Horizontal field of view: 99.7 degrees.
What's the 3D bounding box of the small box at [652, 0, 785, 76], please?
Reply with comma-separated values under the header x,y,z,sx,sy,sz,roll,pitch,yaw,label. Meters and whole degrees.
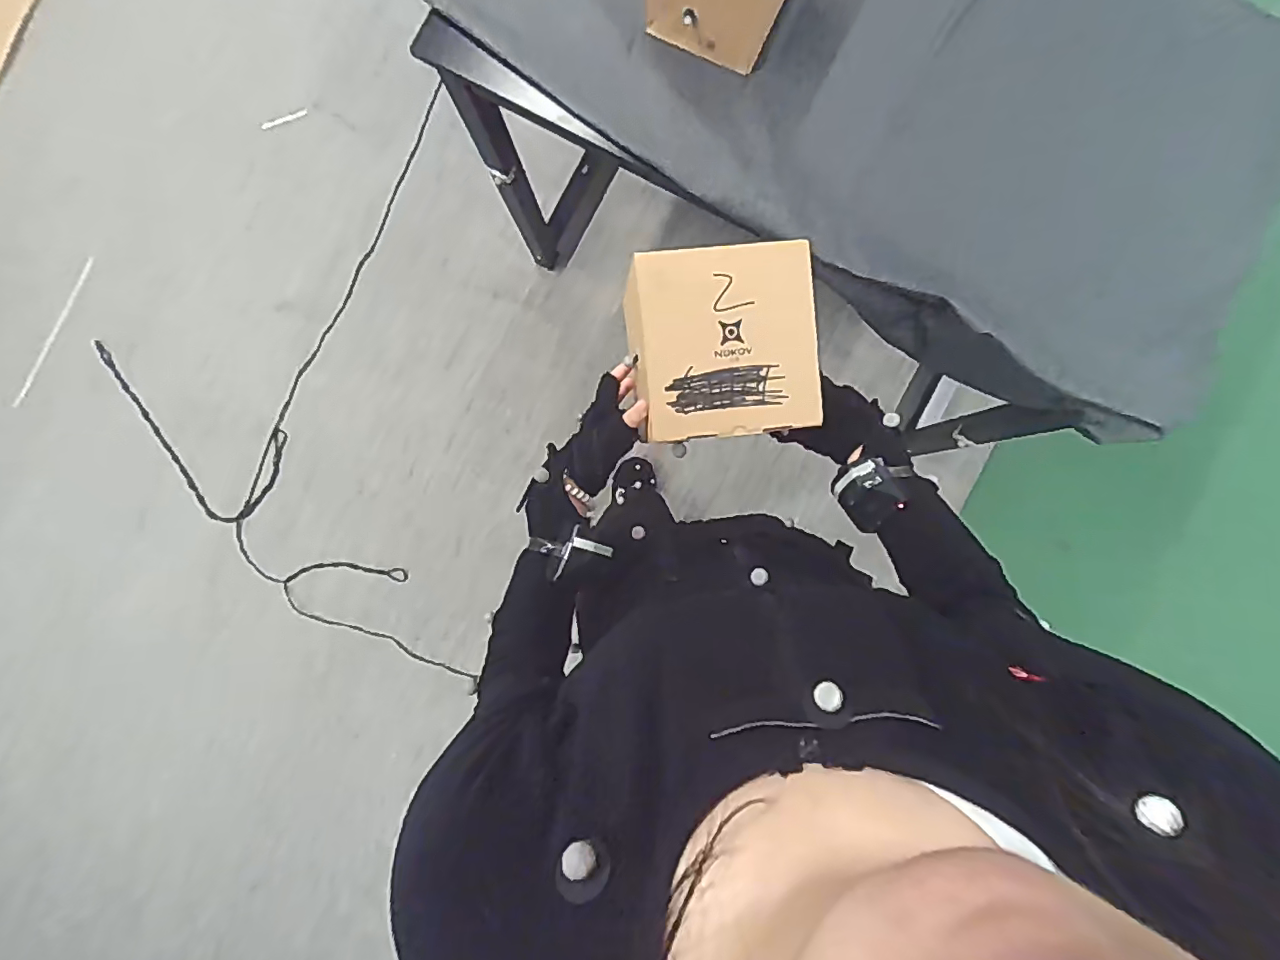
x,y,z,sx,sy,sz,roll,pitch,yaw,label
0.120,-0.706,0.722,0.168,0.176,0.179,26,89,2,small box
